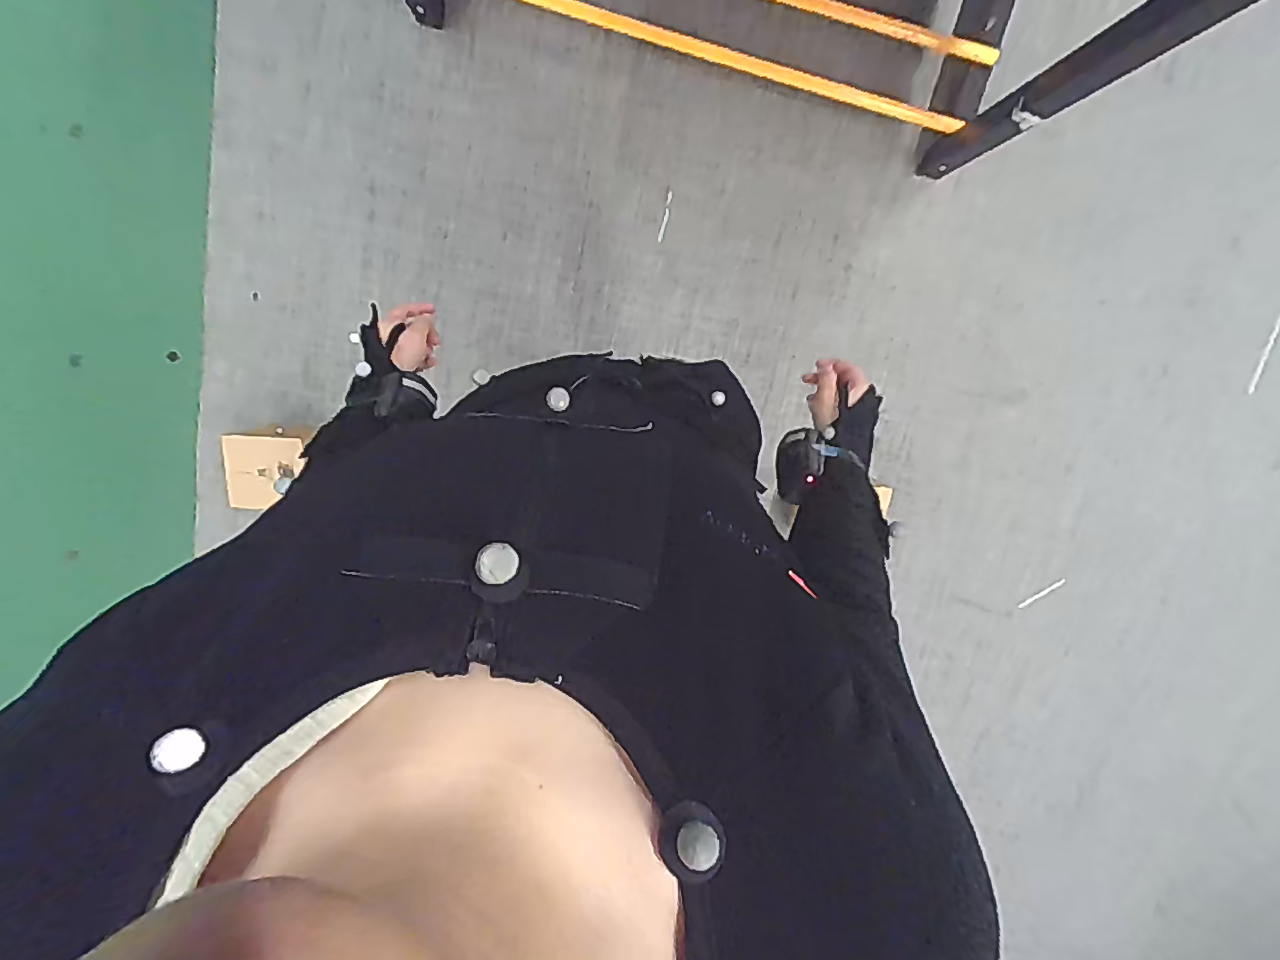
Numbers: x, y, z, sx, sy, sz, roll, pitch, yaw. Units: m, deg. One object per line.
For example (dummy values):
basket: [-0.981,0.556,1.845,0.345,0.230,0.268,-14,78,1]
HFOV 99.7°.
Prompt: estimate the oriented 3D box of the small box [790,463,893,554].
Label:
small box: [0.481,0.062,1.315,0.168,0.176,0.179,7,102,-3]

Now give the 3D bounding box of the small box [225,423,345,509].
small box: [-0.808,-0.038,1.254,0.179,0.176,0.168,3,103,-1]
